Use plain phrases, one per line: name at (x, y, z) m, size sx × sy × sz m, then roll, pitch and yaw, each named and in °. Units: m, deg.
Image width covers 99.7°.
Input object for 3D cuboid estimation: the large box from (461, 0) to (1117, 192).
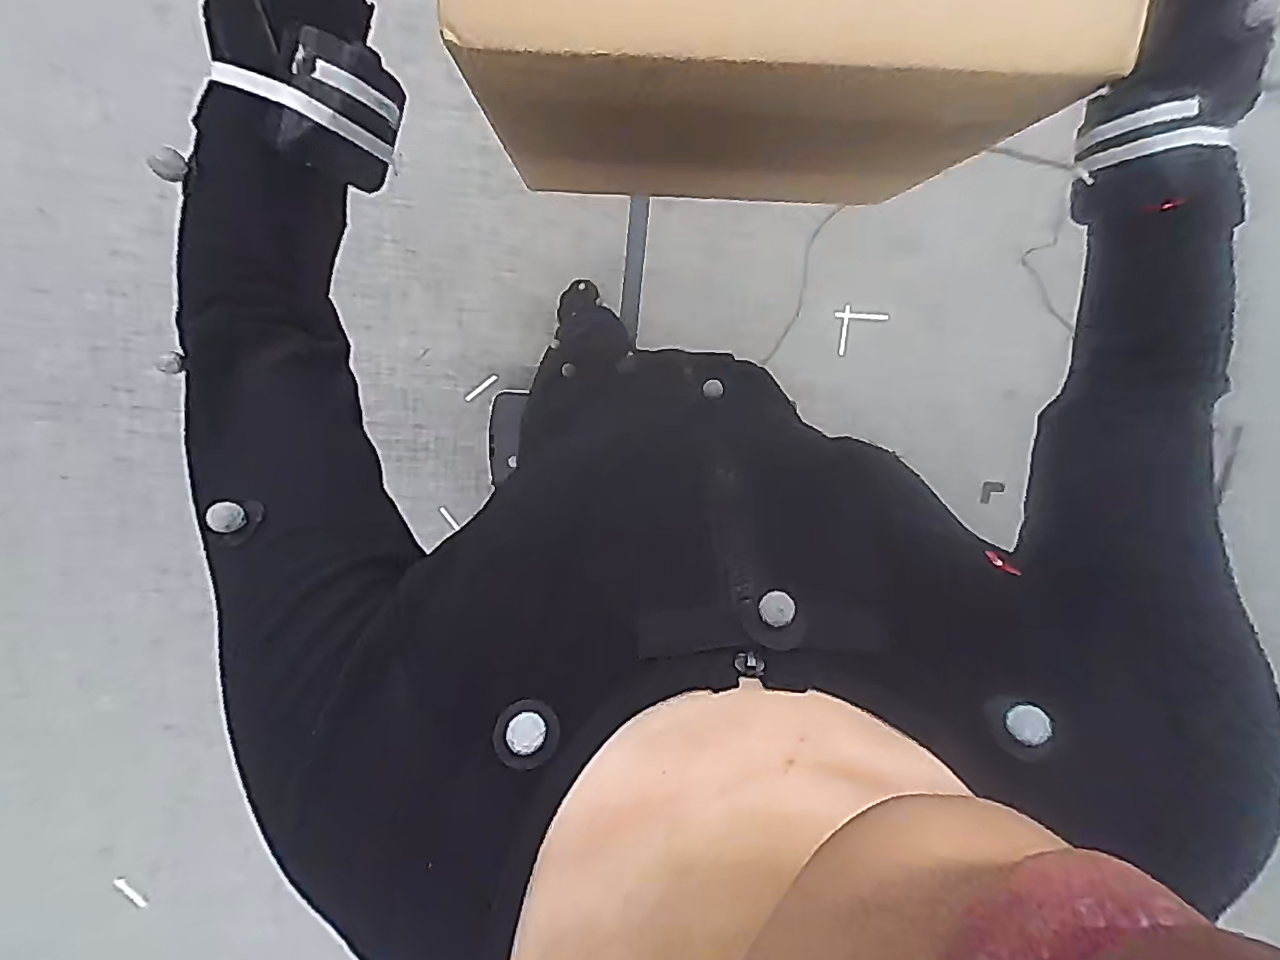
large box at (0.083, -0.440, 0.434) m, size 0.408 × 0.320 × 0.320 m, roll 0°, pitch 105°, yaw -3°
